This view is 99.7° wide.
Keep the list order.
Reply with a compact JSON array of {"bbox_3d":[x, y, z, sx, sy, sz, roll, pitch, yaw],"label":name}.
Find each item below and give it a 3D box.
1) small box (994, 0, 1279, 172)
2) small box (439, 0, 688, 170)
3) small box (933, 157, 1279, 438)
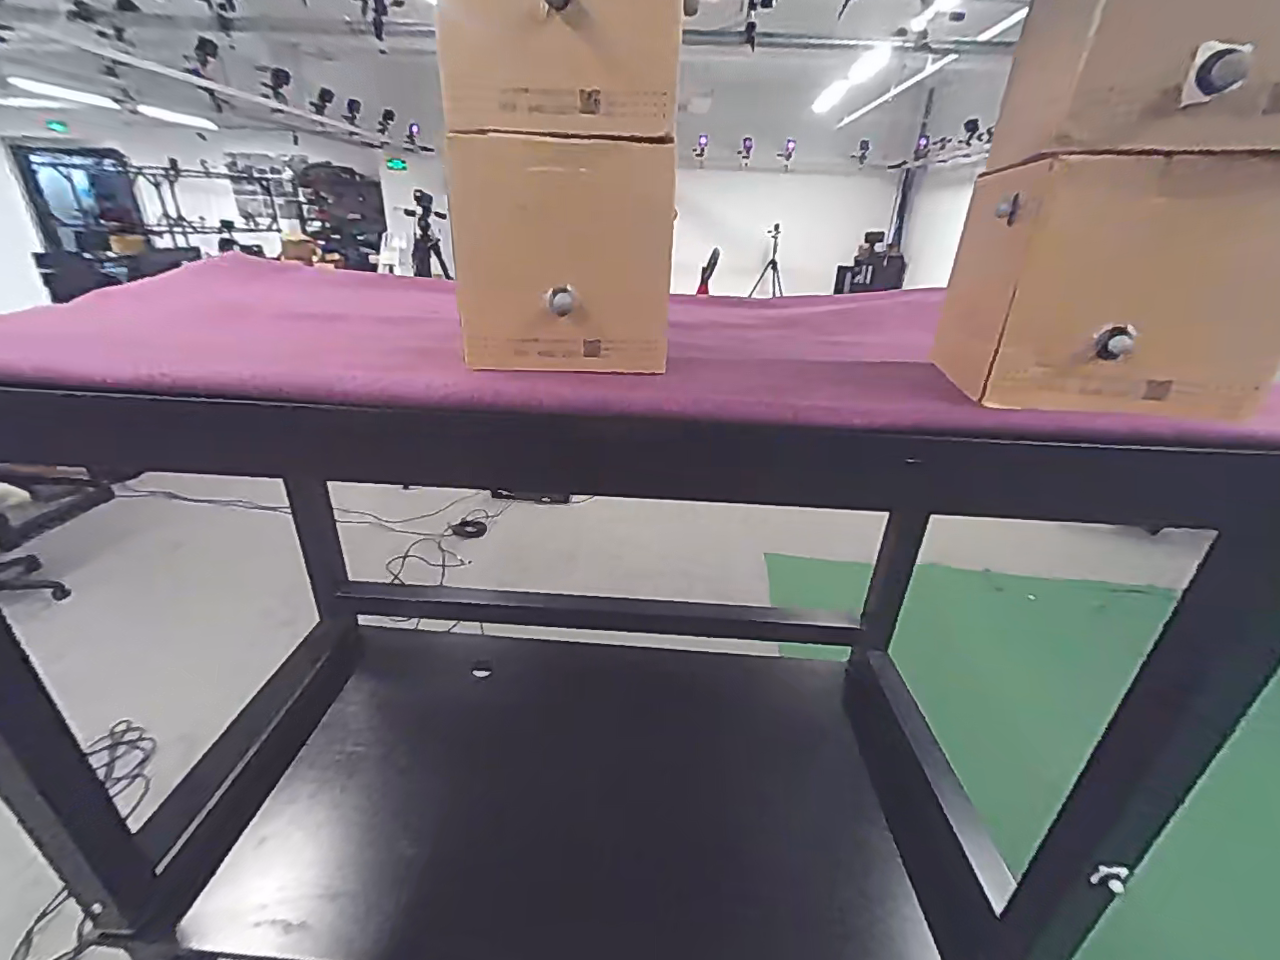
[{"bbox_3d":[0.359,-0.289,0.349,0.168,0.176,0.179,8,28,15],"label":"small box"},{"bbox_3d":[-0.048,-0.345,0.421,0.168,0.176,0.179,3,25,0],"label":"small box"},{"bbox_3d":[0.354,-0.147,0.426,0.168,0.176,0.179,8,27,12],"label":"small box"}]
